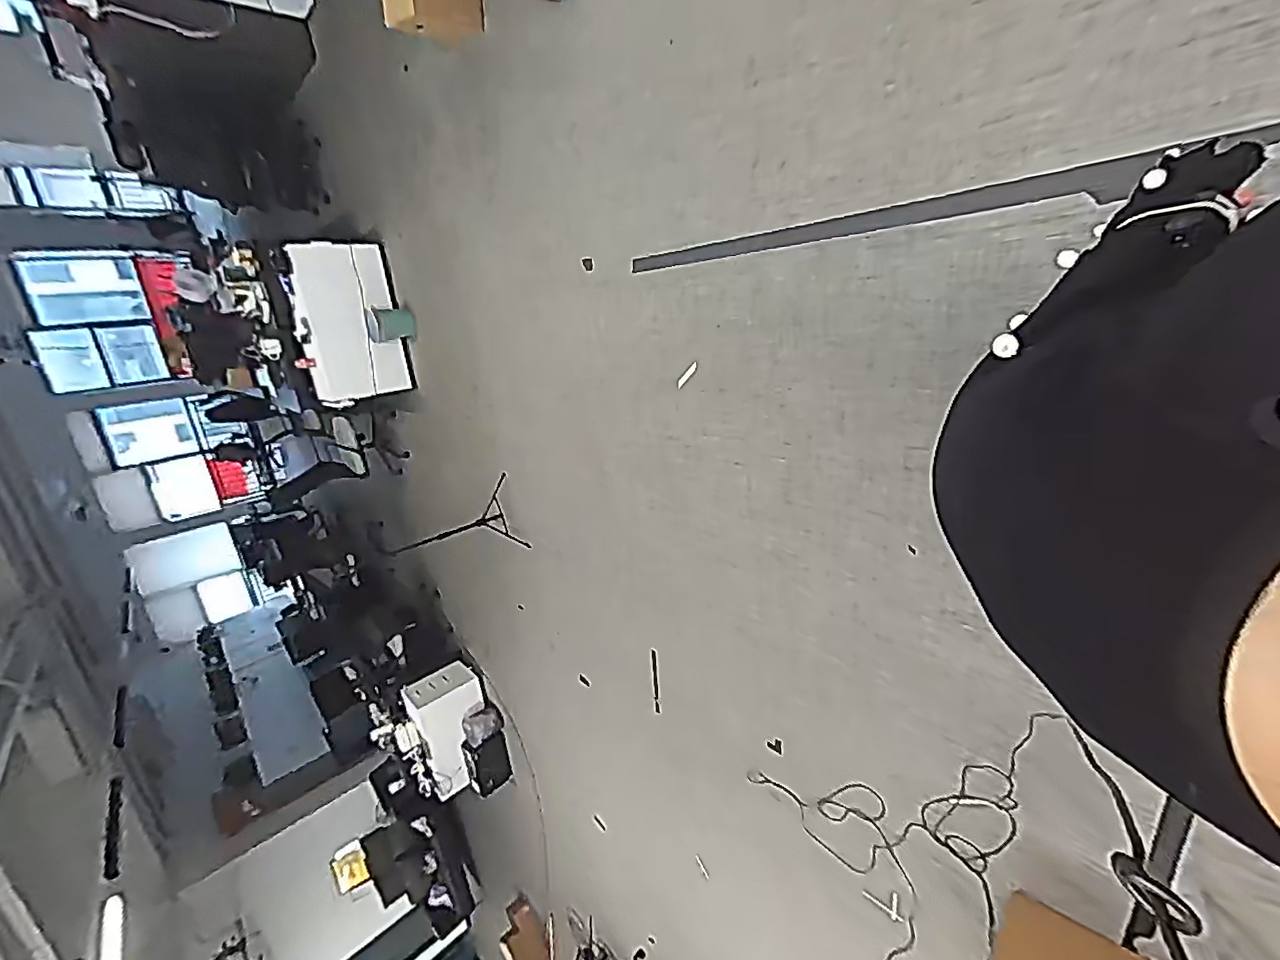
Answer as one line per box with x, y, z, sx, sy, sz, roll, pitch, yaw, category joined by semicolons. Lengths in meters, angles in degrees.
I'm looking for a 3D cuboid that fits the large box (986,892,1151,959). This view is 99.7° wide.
1.188;1.433;1.429;0.408;0.320;0.320;4;109;50;large box
